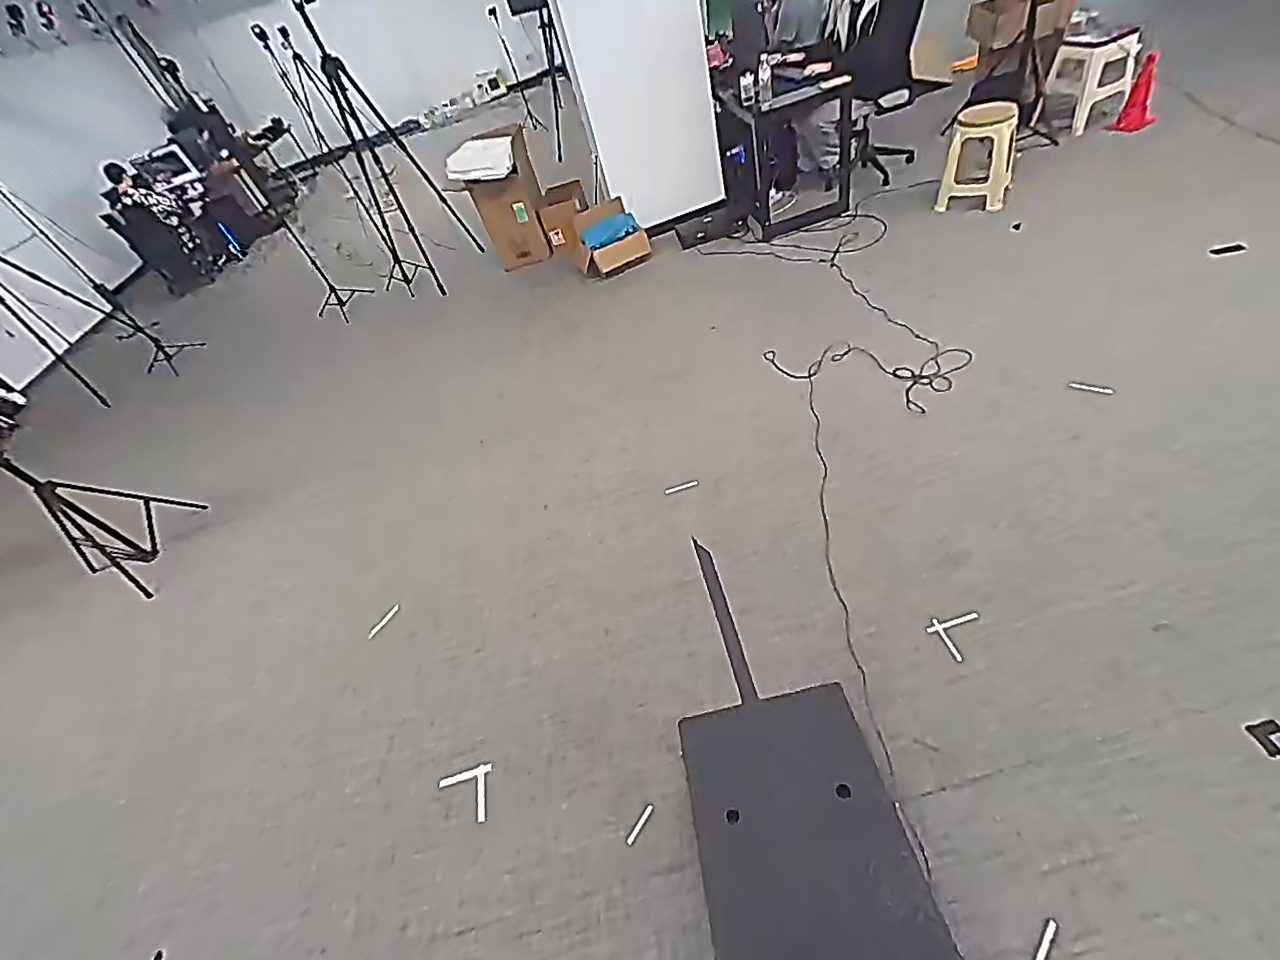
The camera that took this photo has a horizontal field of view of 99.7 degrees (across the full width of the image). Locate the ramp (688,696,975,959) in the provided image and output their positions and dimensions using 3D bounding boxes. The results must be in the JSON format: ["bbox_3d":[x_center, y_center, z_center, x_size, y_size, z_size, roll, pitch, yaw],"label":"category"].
[{"bbox_3d":[0.420,0.969,1.176,0.509,0.206,0.991,-20,42,4],"label":"ramp"}]
